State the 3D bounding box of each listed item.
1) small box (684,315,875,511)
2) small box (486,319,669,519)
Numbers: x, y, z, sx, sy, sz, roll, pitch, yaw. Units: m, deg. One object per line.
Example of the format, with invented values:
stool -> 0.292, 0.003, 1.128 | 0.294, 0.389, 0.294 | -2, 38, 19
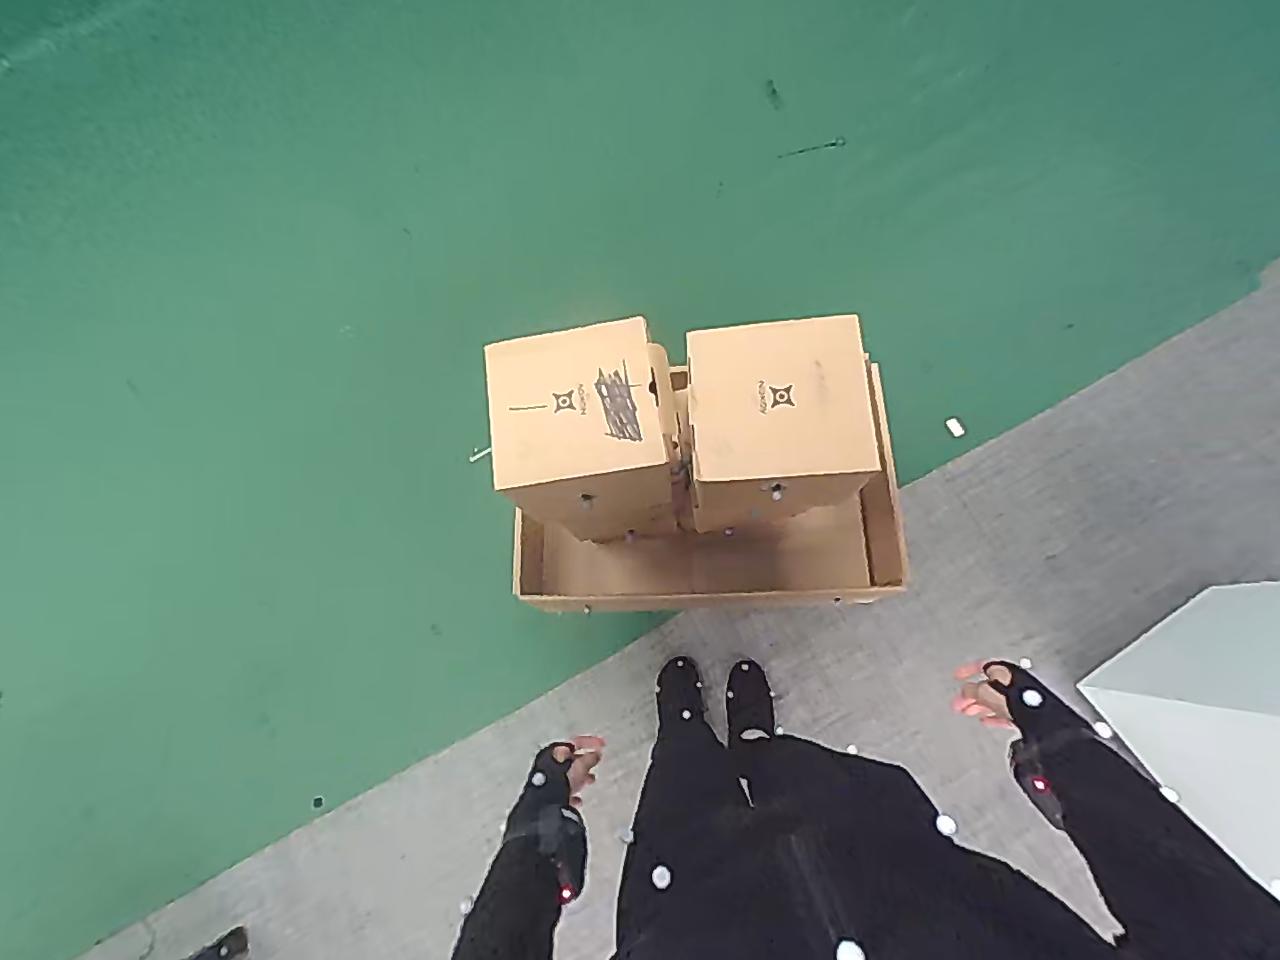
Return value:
small box -> 0.146, -0.063, 0.612 | 0.179, 0.176, 0.168 | -3, 75, 8
small box -> -0.062, -0.059, 0.629 | 0.179, 0.176, 0.168 | -9, 73, 3
